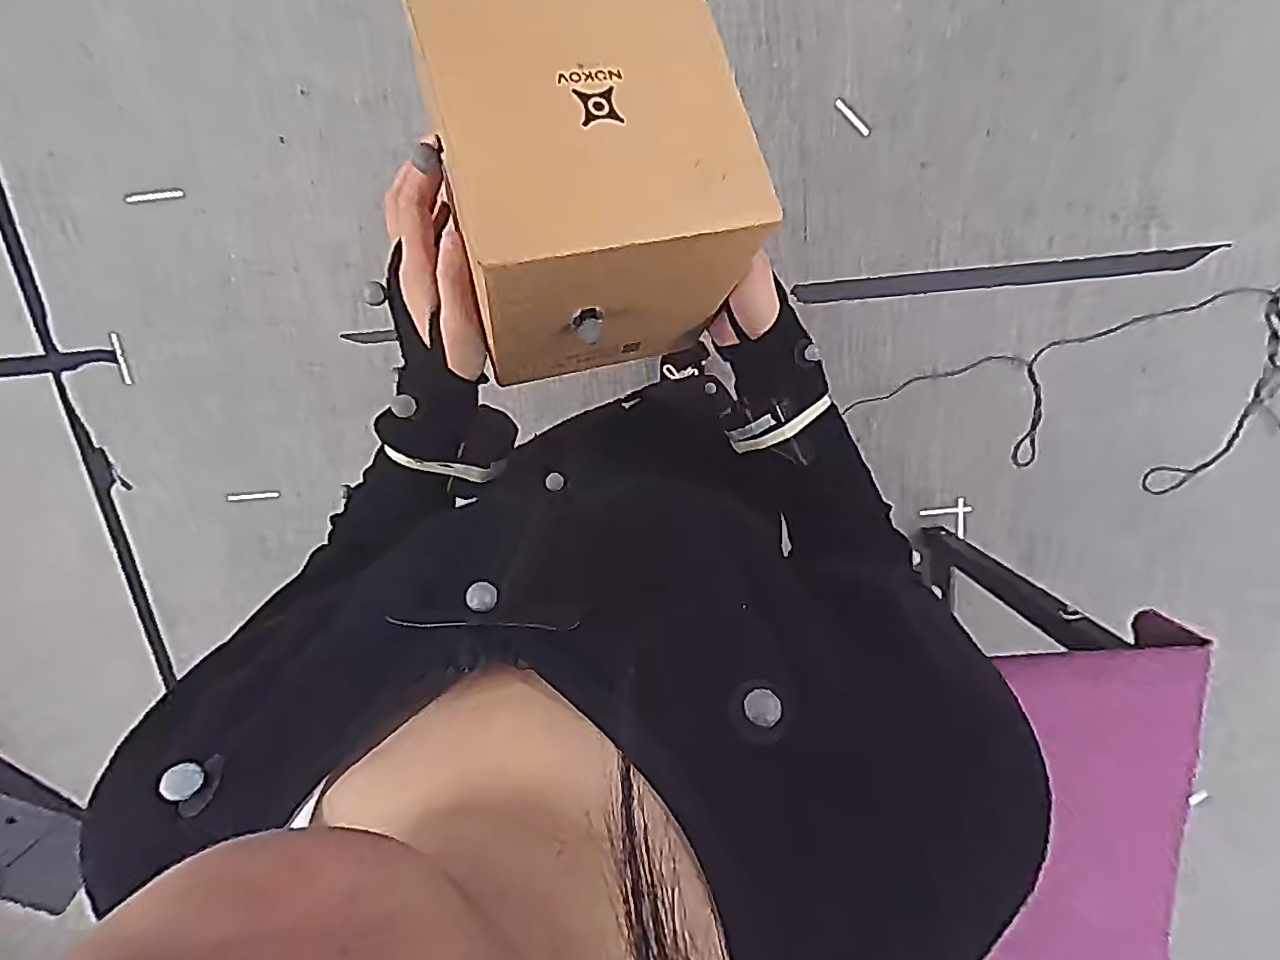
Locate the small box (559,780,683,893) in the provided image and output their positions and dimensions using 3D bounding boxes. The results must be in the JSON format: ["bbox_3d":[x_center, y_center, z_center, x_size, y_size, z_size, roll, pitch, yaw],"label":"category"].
[{"bbox_3d":[-0.019,0.582,0.802,0.168,0.176,0.179,-2,103,2],"label":"small box"}]

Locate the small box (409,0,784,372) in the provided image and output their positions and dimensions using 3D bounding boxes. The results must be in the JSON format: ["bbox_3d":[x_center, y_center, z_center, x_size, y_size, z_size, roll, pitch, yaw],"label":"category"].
[{"bbox_3d":[-0.035,-0.186,0.362,0.168,0.176,0.179,-15,82,-14],"label":"small box"}]

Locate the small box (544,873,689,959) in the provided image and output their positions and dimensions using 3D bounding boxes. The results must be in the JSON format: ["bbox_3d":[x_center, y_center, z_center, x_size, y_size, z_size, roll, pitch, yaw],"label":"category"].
[{"bbox_3d":[-0.026,0.615,0.641,0.168,0.176,0.179,0,104,2],"label":"small box"}]
